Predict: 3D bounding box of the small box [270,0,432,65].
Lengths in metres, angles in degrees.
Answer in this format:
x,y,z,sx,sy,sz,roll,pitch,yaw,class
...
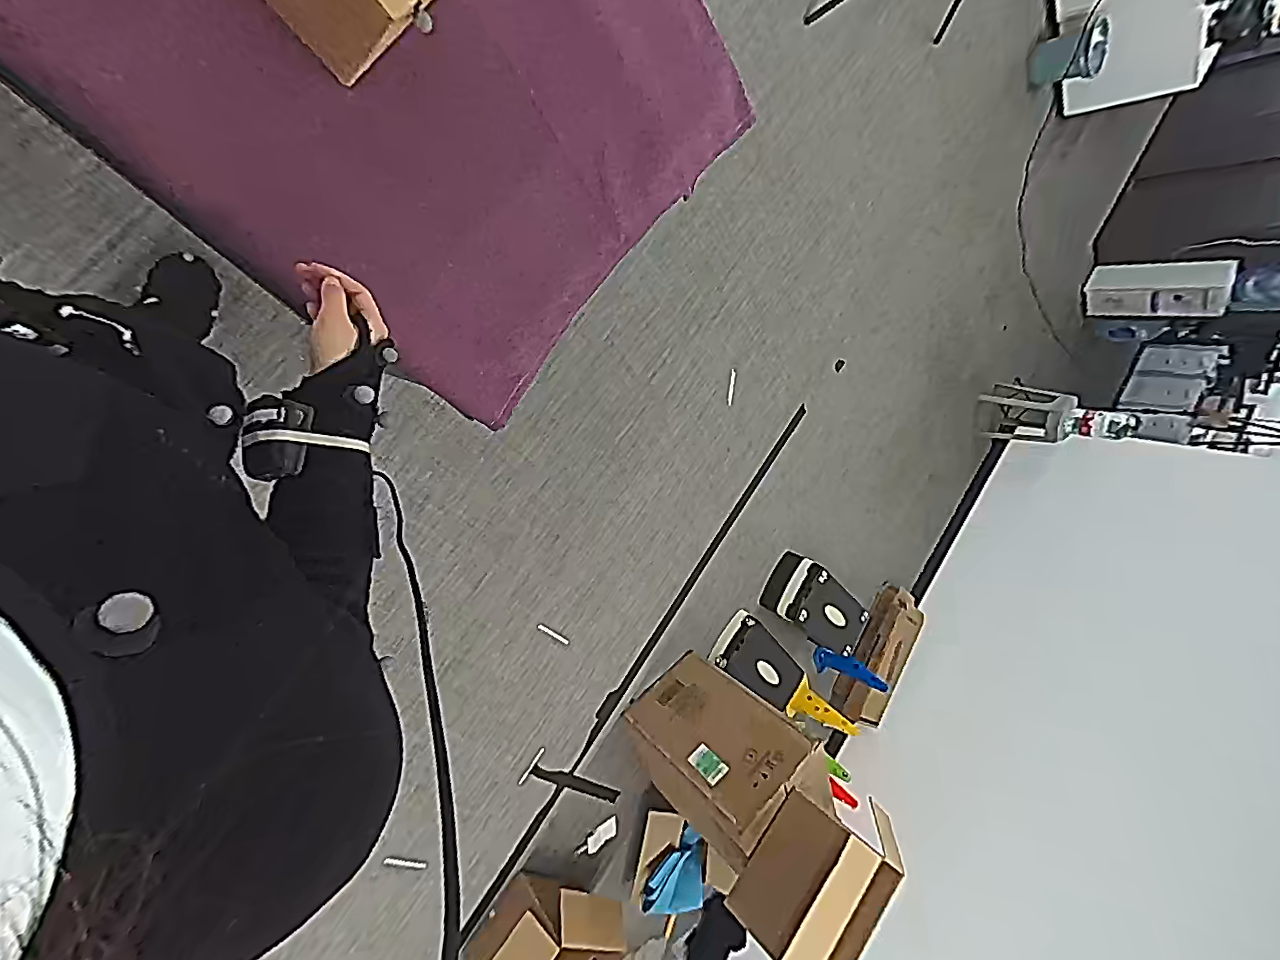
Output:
x,y,z,sx,sy,sz,roll,pitch,yaw,class
-0.238,-0.475,0.428,0.179,0.176,0.168,43,76,-39,small box
